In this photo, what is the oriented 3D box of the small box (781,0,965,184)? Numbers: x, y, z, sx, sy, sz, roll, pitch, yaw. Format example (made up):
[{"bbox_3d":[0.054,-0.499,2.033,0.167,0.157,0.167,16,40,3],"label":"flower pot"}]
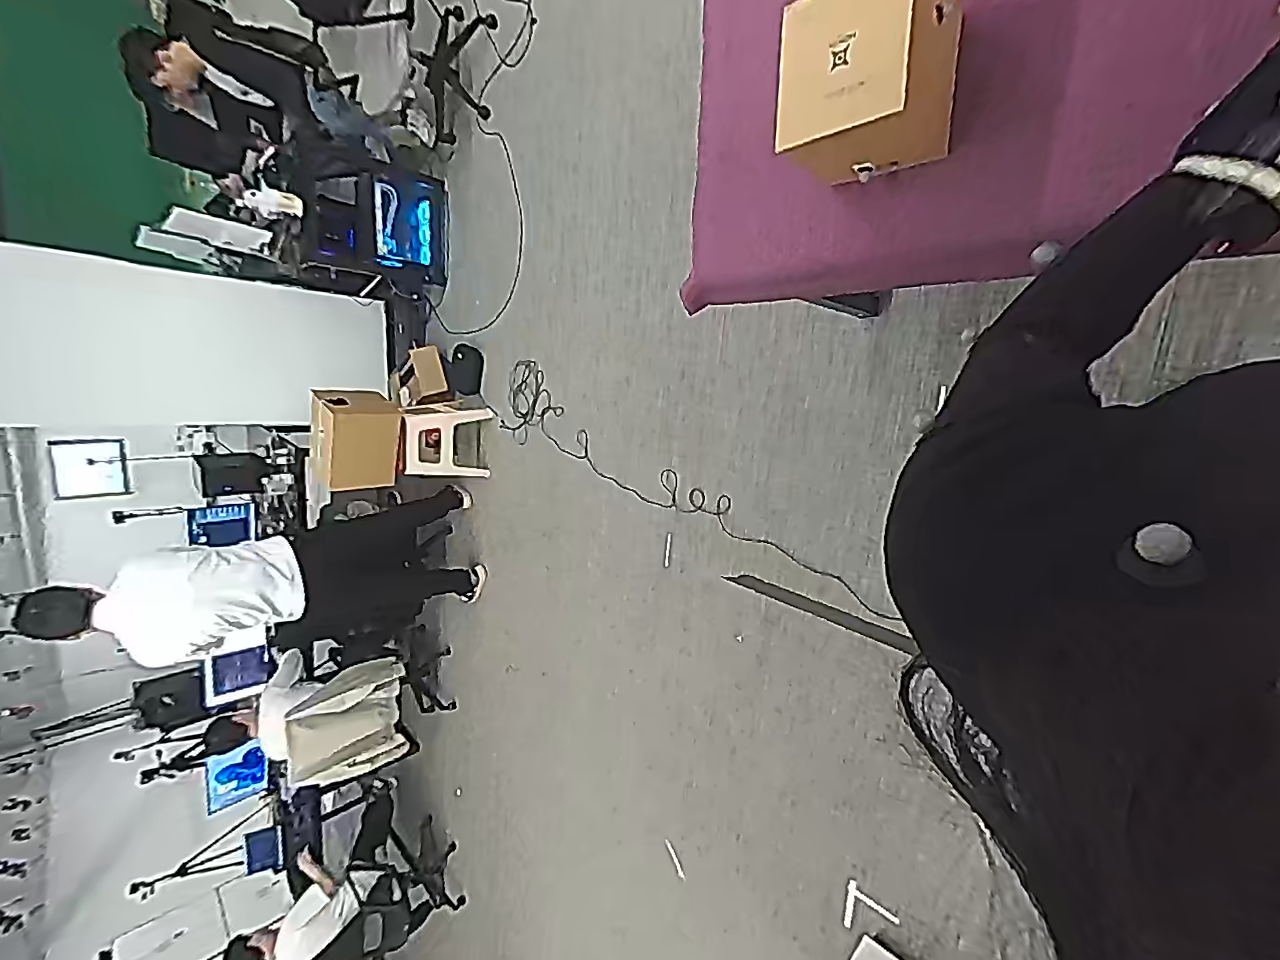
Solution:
[{"bbox_3d":[0.301,-0.515,0.697,0.168,0.176,0.179,9,102,45],"label":"small box"}]
